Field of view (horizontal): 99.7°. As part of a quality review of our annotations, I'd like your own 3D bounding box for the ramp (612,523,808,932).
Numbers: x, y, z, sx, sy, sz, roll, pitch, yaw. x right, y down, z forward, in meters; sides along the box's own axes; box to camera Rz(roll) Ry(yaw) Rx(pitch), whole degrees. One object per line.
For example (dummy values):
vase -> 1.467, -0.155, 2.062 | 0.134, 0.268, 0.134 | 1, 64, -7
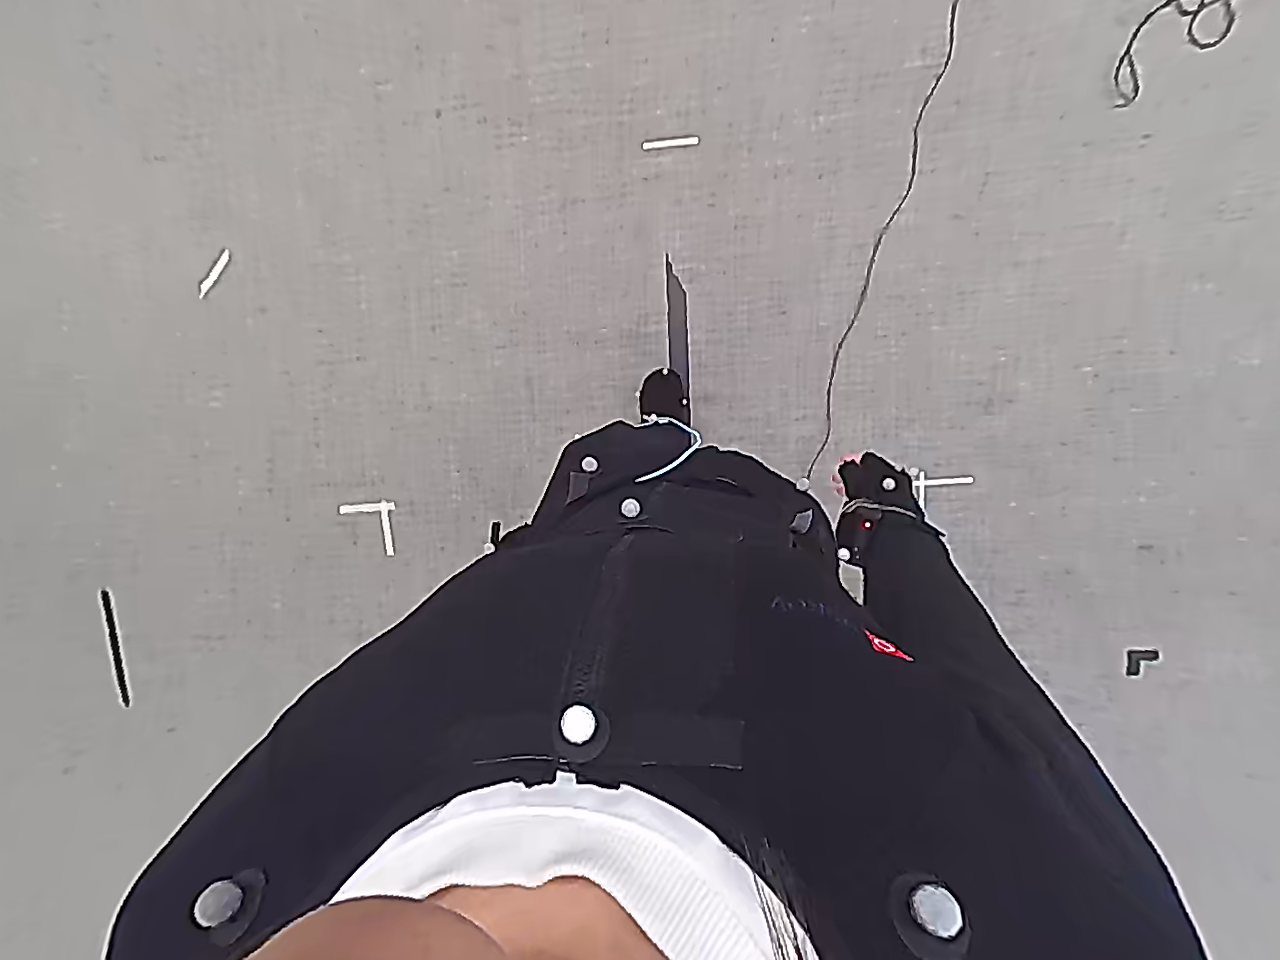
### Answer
ramp -> 0.166, 0.615, 1.406 | 0.509, 0.206, 0.991 | -3, 94, 9
